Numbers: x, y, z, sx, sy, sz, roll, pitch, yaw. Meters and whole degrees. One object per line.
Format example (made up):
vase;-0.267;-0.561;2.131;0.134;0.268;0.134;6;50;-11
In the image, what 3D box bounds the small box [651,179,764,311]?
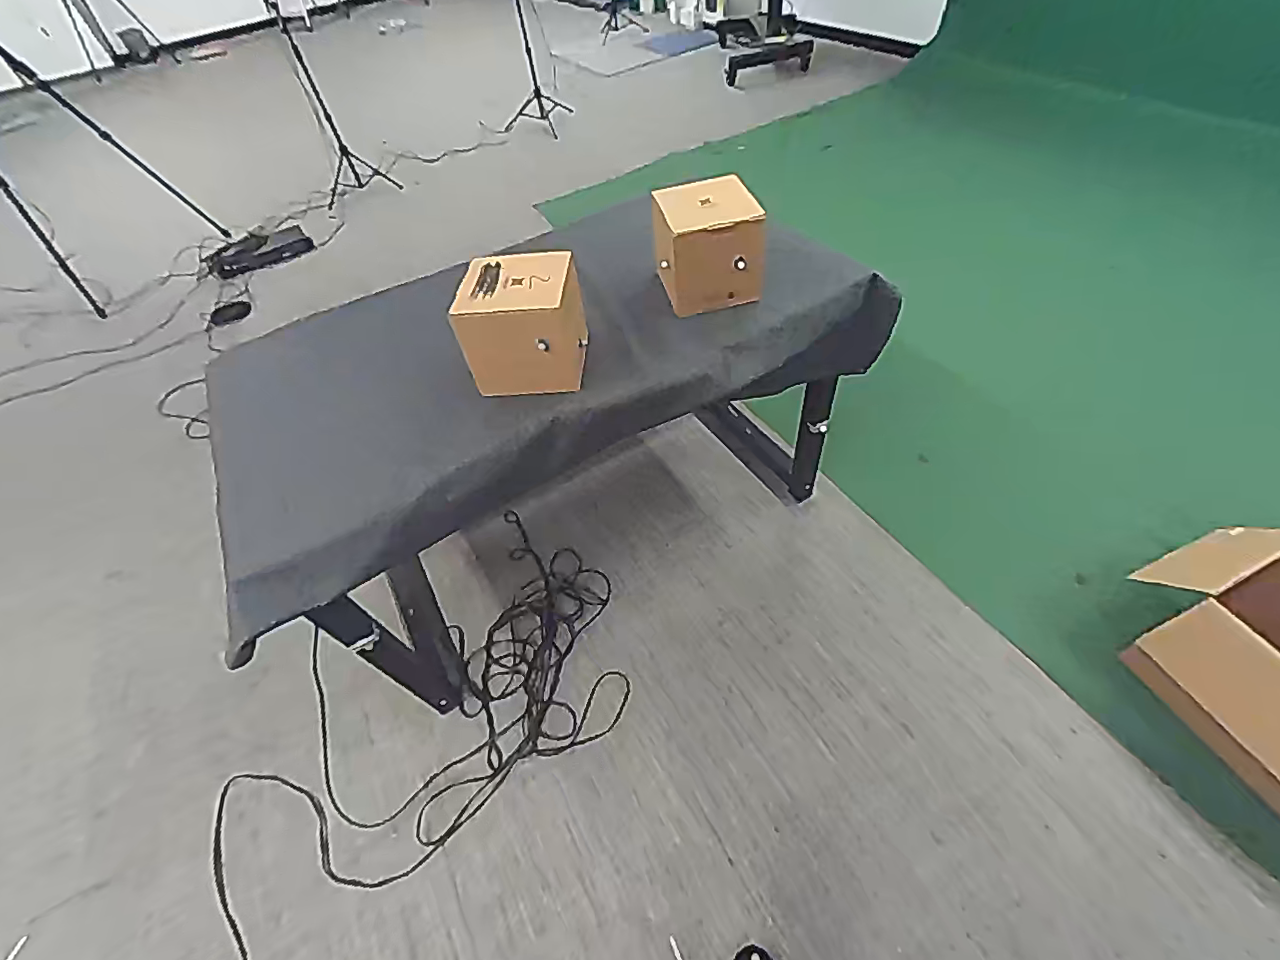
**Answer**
small box;0.125;-0.437;1.024;0.168;0.176;0.179;-13;49;-4
